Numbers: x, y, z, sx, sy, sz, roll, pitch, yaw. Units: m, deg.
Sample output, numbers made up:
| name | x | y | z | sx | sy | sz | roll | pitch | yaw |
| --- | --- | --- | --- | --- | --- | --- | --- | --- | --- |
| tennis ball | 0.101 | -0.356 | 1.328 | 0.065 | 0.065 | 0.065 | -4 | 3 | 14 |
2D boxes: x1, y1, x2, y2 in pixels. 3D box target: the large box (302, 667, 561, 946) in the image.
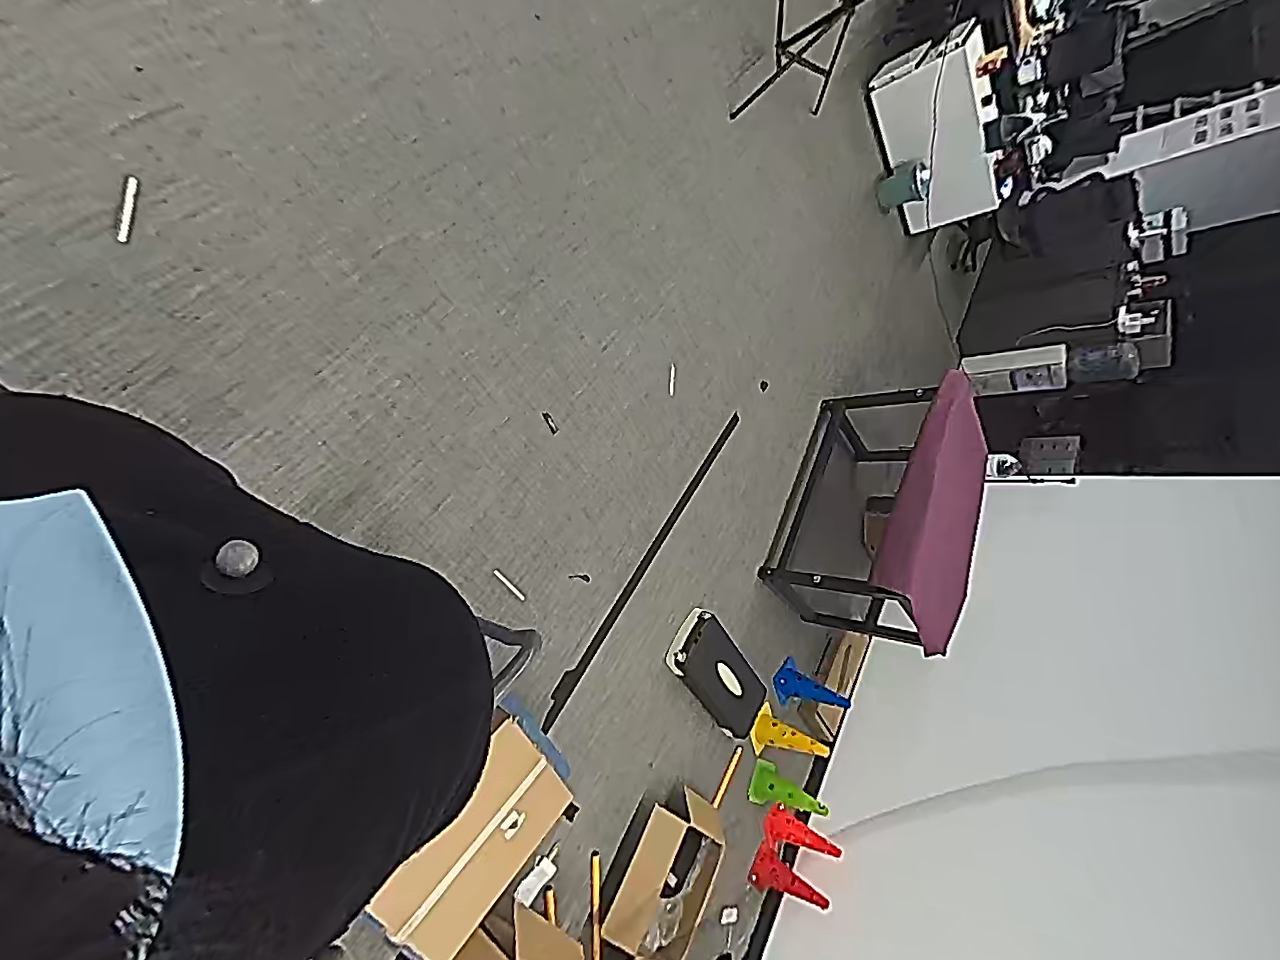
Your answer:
| name | x | y | z | sx | sy | sz | roll | pitch | yaw |
| --- | --- | --- | --- | --- | --- | --- | --- | --- | --- |
| large box | -0.475 | 0.724 | 1.265 | 0.408 | 0.320 | 0.320 | -44 | 121 | -36 |
